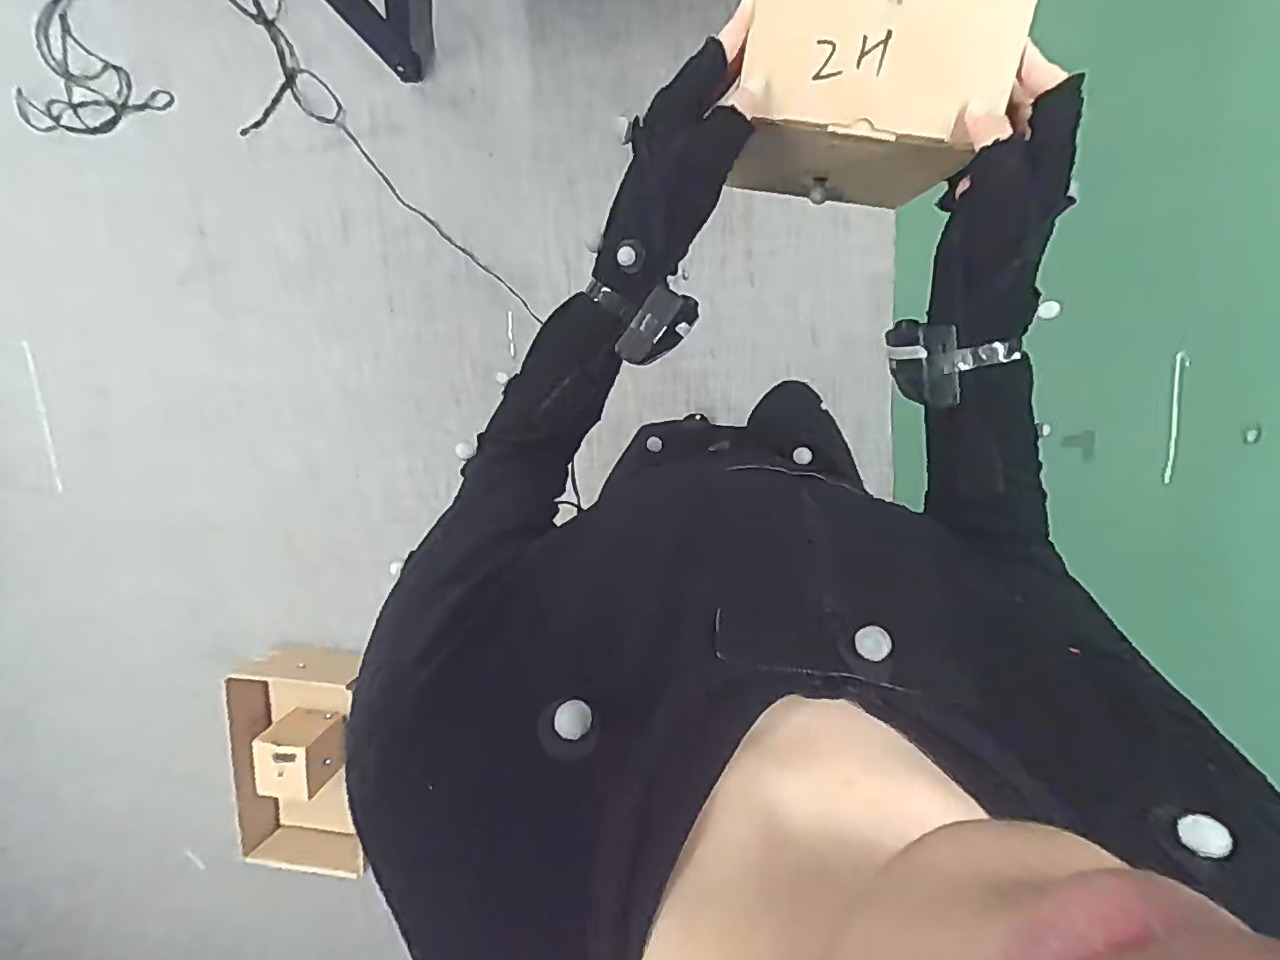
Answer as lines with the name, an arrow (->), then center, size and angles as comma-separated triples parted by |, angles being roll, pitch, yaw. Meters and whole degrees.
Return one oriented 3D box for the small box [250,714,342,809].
small box -> -1.004, 0.820, 1.590 | 0.168, 0.176, 0.179 | 5, 100, 7
